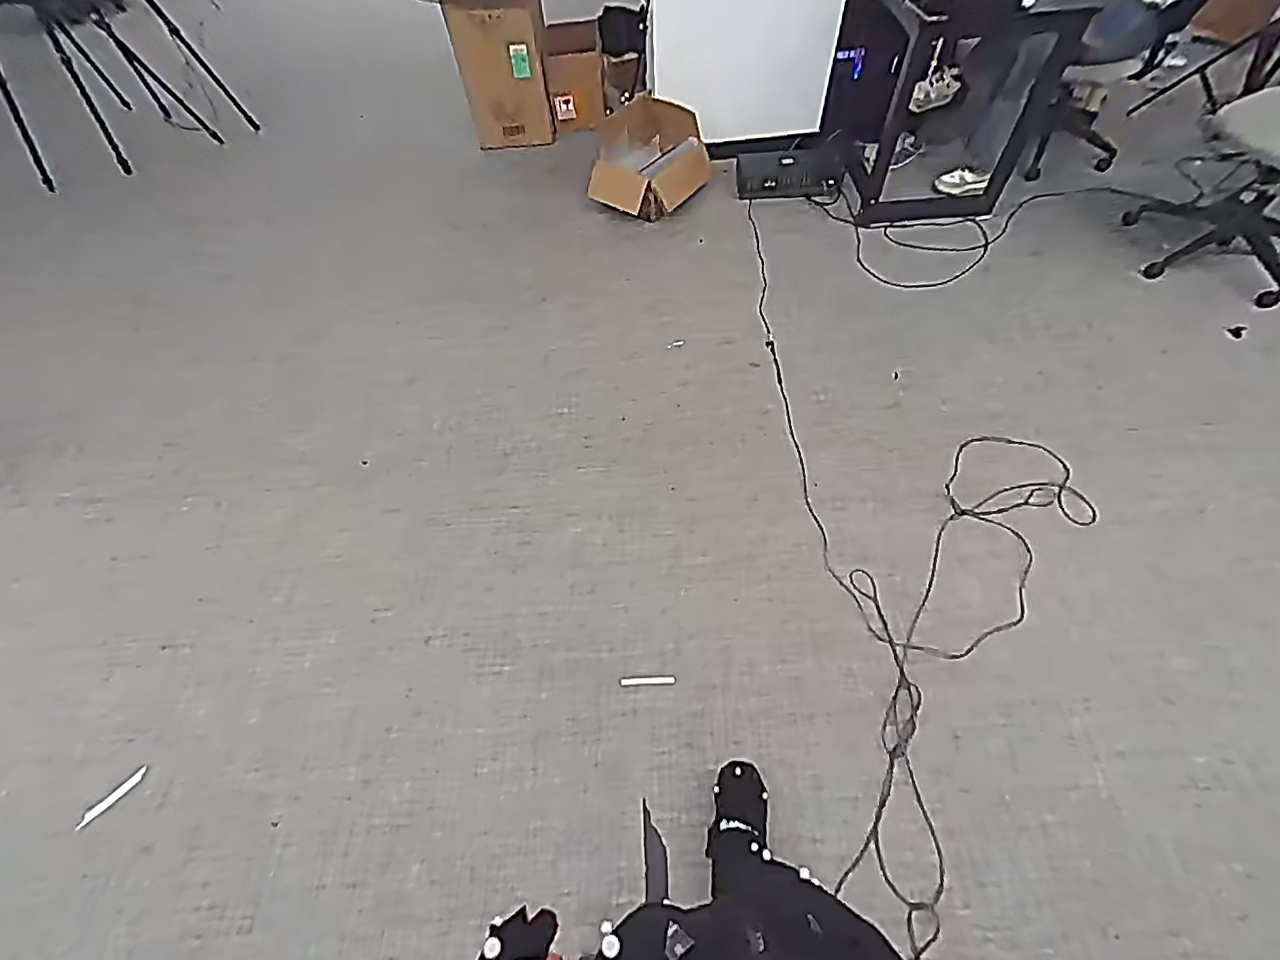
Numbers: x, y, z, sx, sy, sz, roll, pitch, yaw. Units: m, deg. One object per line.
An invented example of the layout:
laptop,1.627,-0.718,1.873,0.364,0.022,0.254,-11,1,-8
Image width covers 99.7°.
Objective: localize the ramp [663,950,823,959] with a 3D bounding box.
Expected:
ramp,0.143,1.325,0.750,0.509,0.206,0.991,-6,56,1
